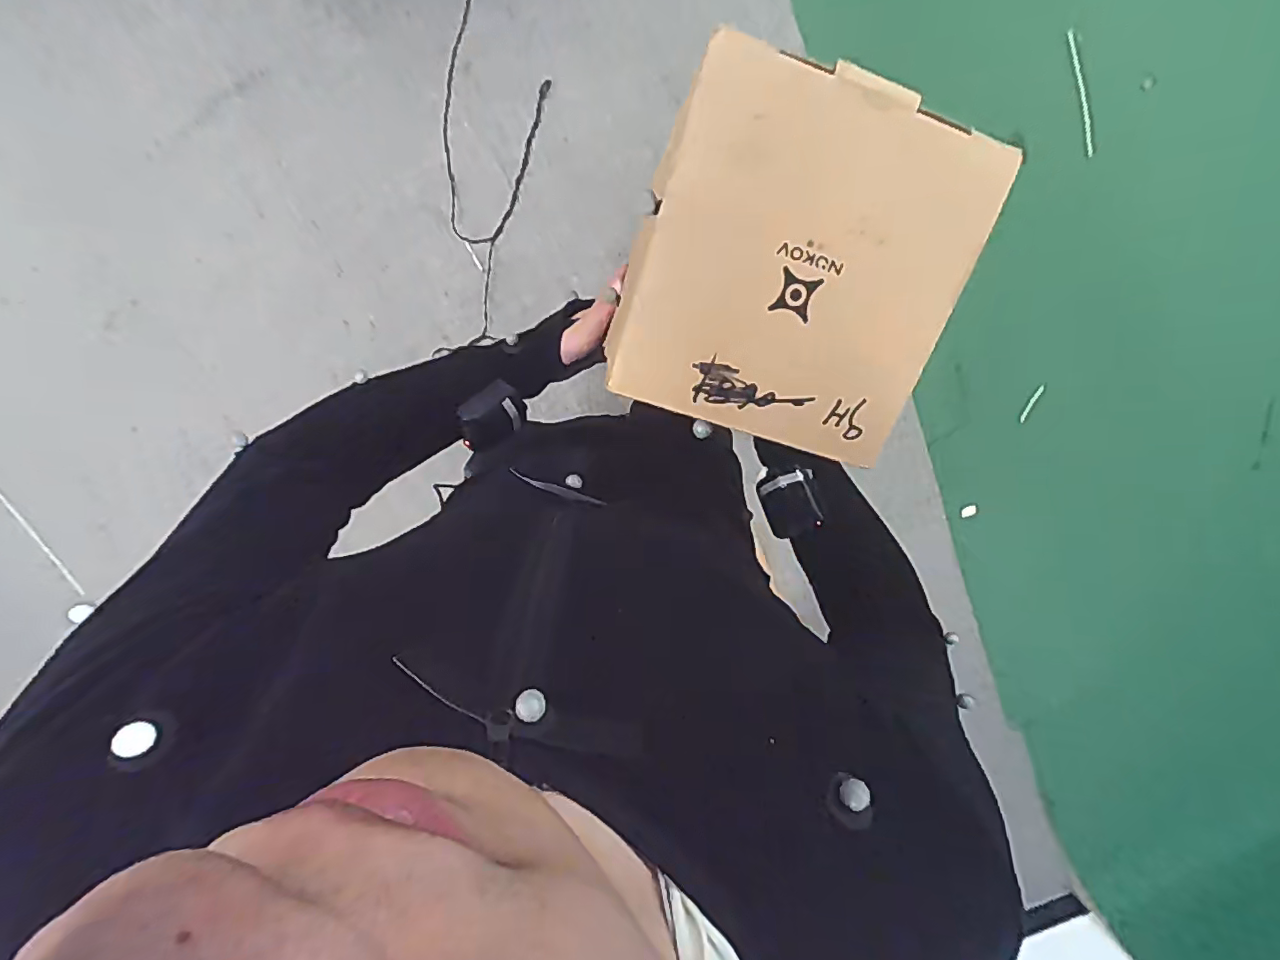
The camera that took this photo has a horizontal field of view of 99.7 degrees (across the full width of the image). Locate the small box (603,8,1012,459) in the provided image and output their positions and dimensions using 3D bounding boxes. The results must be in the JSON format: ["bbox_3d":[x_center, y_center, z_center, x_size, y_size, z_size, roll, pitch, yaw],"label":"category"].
[{"bbox_3d":[0.076,-0.138,0.352,0.168,0.176,0.179,16,109,-8],"label":"small box"}]
